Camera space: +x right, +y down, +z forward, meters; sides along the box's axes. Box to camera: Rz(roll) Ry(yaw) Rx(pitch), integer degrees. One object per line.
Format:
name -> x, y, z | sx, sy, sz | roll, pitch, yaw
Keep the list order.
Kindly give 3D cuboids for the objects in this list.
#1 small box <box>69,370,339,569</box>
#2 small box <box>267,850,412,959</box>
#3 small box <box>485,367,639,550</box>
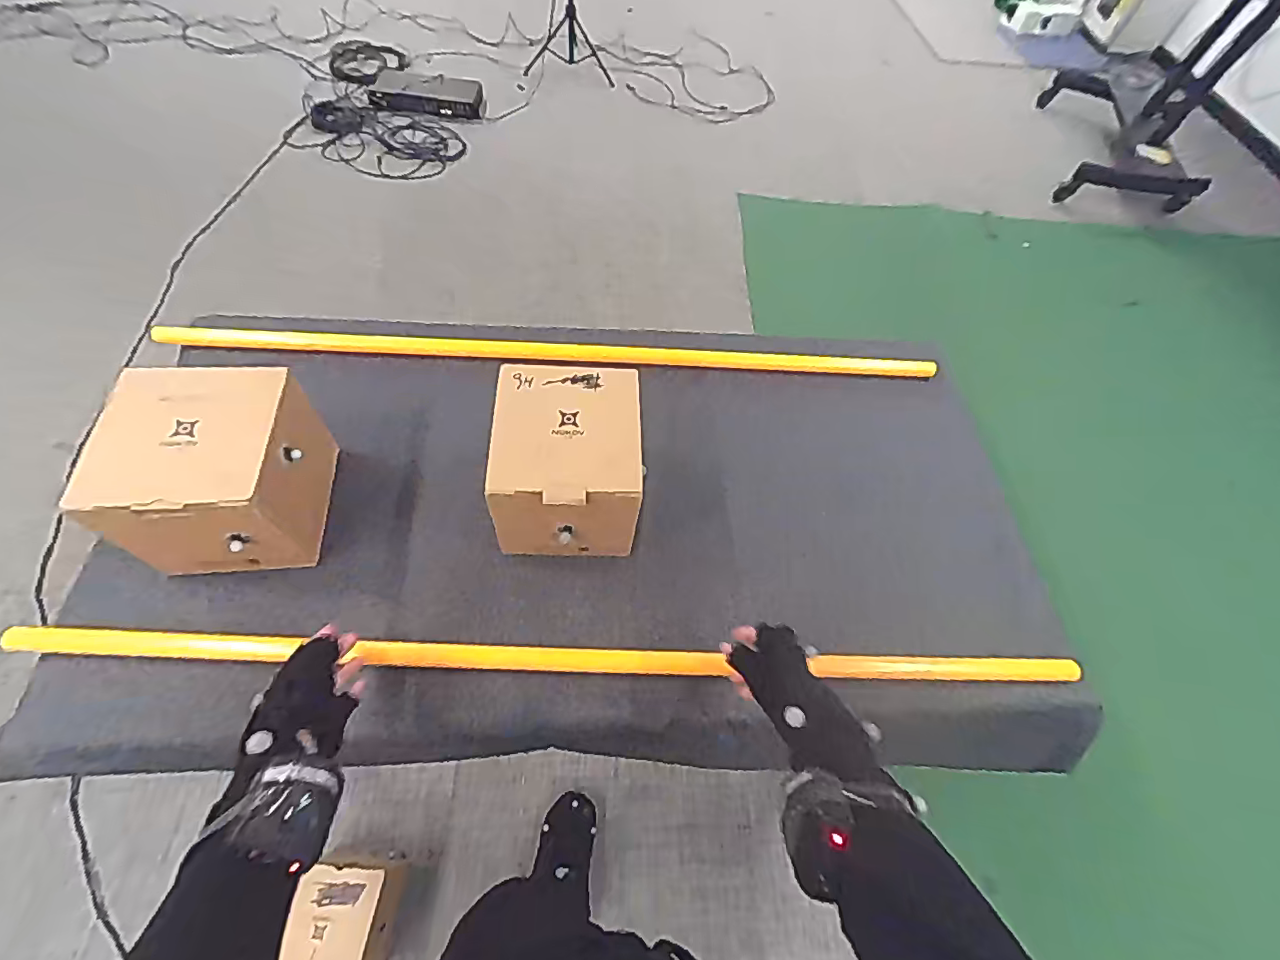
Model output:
small box -> -0.473, -0.005, 0.626 | 0.168, 0.176, 0.179 | -3, 58, -10
small box -> -0.540, 0.799, 0.997 | 0.168, 0.176, 0.179 | 7, 60, -1
small box -> -0.091, -0.019, 0.676 | 0.168, 0.176, 0.179 | -2, 59, -6
